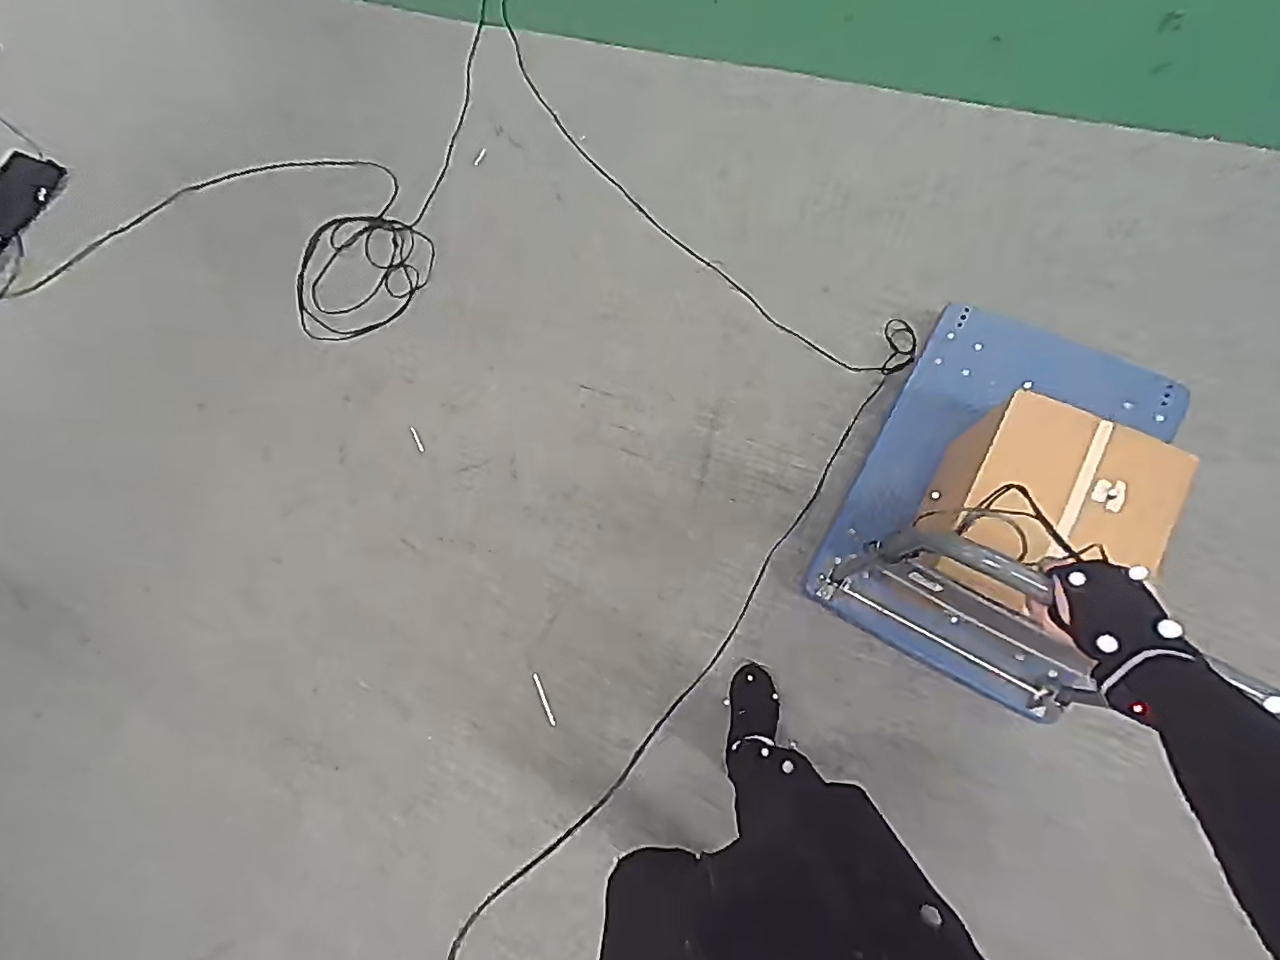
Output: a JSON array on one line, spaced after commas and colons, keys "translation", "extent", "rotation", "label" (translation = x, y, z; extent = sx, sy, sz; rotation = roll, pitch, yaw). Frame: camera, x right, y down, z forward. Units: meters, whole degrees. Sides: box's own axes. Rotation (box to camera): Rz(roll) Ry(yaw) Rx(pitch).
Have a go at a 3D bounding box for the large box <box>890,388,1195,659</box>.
[{"translation": [0.767, 0.102, 1.087], "extent": [0.320, 0.320, 0.408], "rotation": [28, 79, 14], "label": "large box"}]
